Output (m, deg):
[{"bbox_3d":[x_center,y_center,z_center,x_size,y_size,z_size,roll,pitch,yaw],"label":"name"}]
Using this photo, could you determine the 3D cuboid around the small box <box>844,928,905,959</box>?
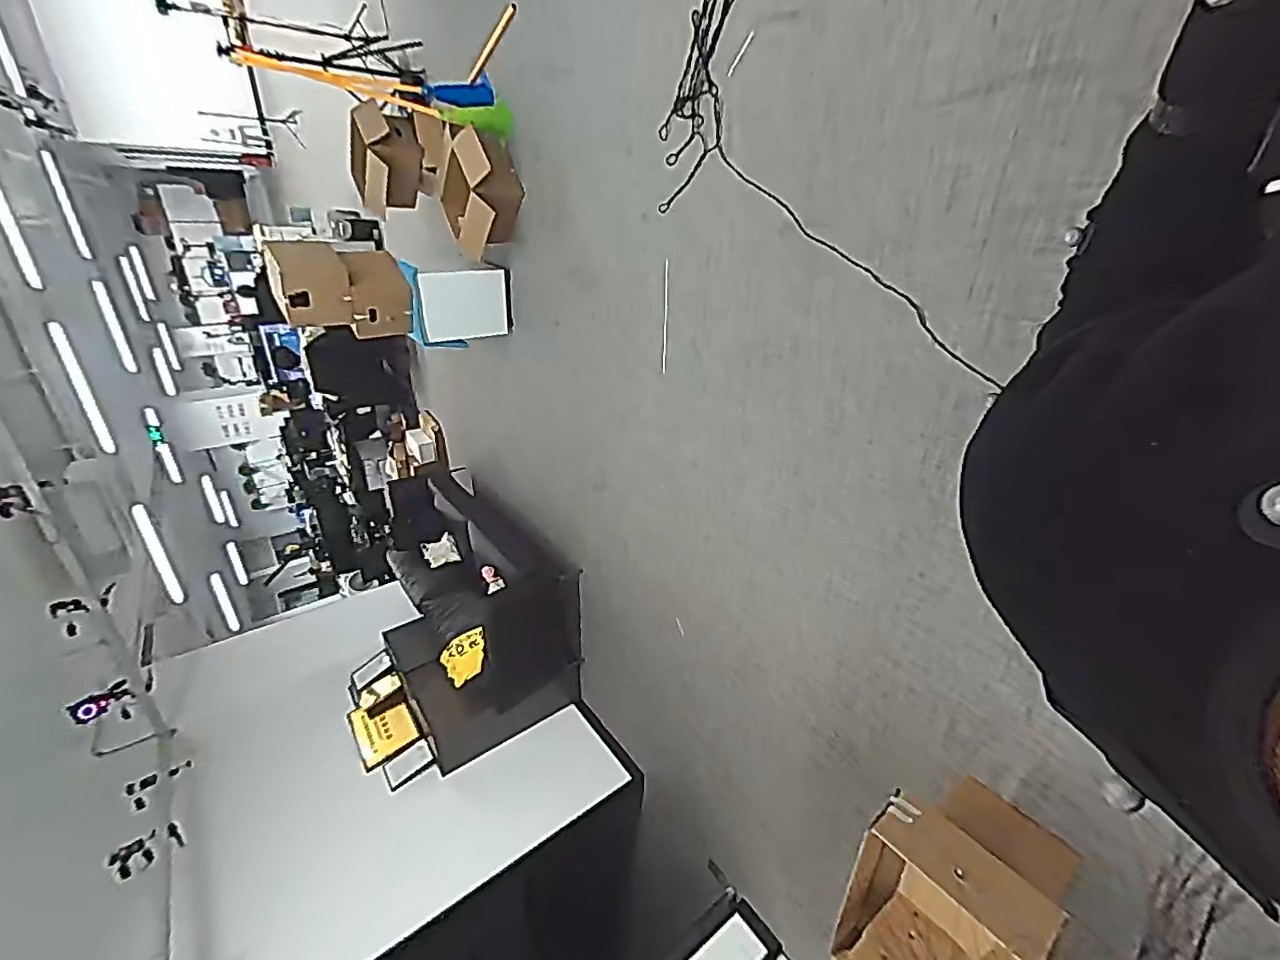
[{"bbox_3d":[0.593,1.288,1.348,0.168,0.176,0.179,23,122,48],"label":"small box"}]

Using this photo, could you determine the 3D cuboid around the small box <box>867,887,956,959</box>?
[{"bbox_3d":[0.718,1.255,1.450,0.168,0.176,0.179,25,122,48],"label":"small box"}]
